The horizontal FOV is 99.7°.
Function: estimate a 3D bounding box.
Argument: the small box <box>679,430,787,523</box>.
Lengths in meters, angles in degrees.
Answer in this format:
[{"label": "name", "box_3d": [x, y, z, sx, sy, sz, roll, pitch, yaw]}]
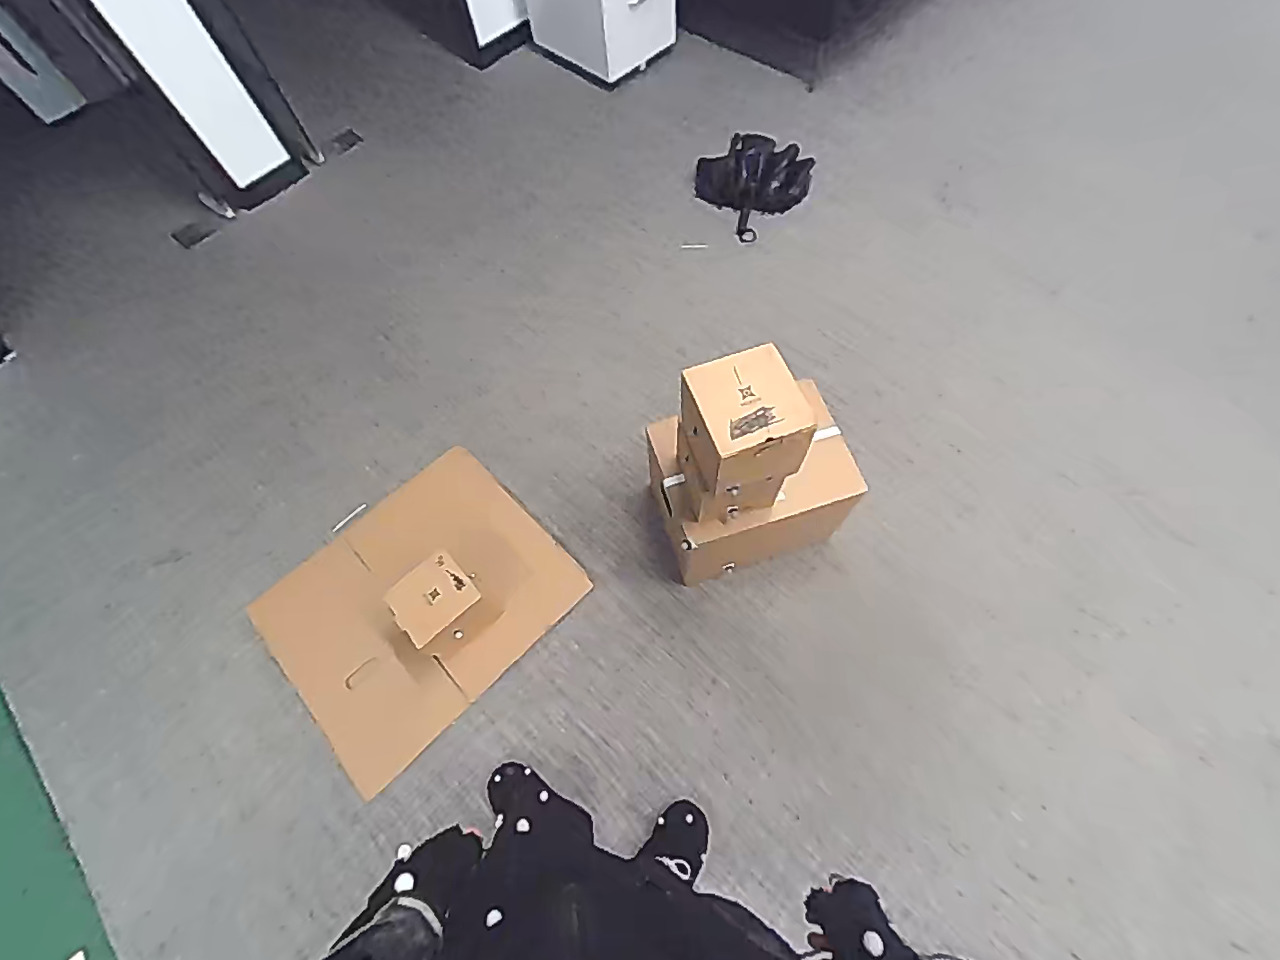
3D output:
[{"label": "small box", "box_3d": [0.177, -0.035, 1.097, 0.168, 0.176, 0.179, -14, 66, -2]}]

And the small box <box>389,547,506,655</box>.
[{"label": "small box", "box_3d": [-0.457, 0.300, 1.308, 0.168, 0.176, 0.179, 40, 75, 23]}]

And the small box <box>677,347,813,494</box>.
[{"label": "small box", "box_3d": [0.174, -0.093, 0.943, 0.168, 0.176, 0.179, -21, 67, -5]}]
